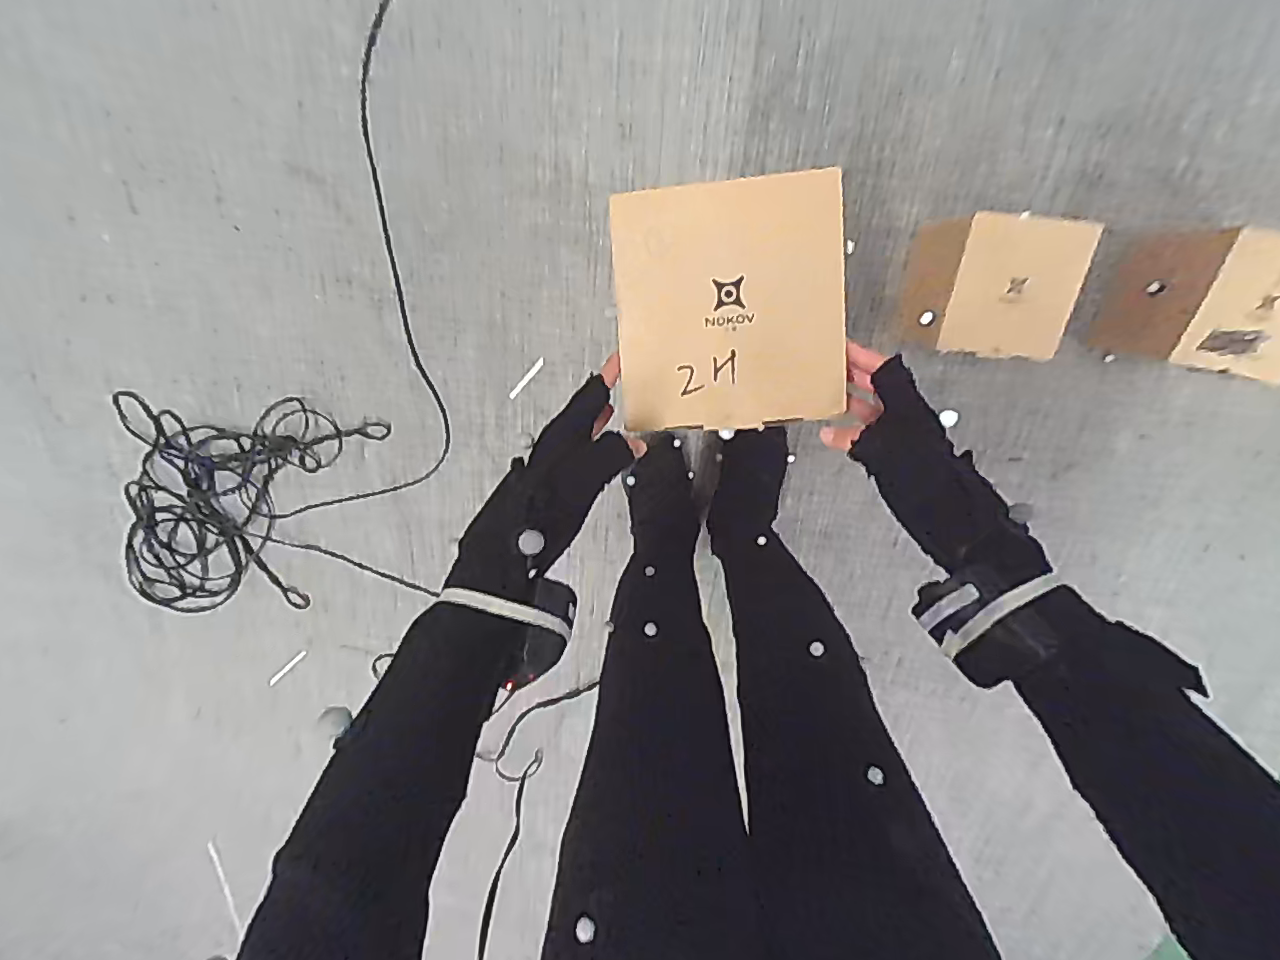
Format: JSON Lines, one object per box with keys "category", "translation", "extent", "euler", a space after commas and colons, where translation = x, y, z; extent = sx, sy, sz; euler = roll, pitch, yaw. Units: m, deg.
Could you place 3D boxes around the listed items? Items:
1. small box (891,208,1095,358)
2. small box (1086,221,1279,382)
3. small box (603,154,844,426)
{"category": "small box", "translation": [0.493, -0.285, 0.790], "extent": [0.168, 0.176, 0.179], "euler": [6, 112, 1]}
{"category": "small box", "translation": [0.807, -0.257, 0.782], "extent": [0.168, 0.176, 0.179], "euler": [11, 111, -2]}
{"category": "small box", "translation": [0.068, -0.140, 0.460], "extent": [0.168, 0.176, 0.179], "euler": [-3, 99, 8]}
